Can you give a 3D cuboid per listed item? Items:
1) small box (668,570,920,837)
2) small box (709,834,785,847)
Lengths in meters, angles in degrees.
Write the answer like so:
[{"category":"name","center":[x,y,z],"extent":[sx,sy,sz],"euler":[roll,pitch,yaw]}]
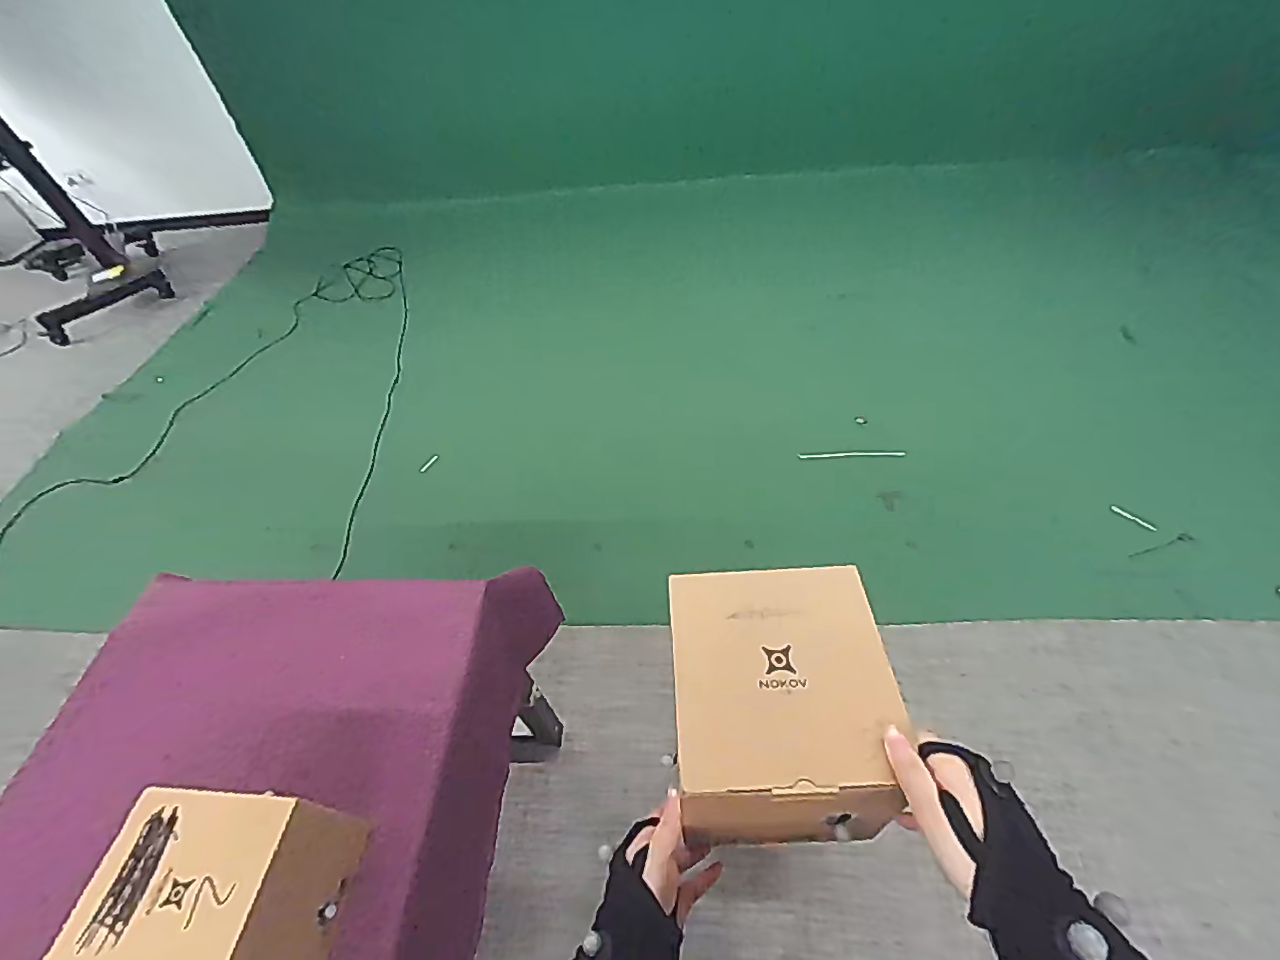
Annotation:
[{"category":"small box","center":[0.114,0.202,0.479],"extent":[0.168,0.176,0.179],"euler":[-3,46,2]},{"category":"small box","center":[0.233,0.711,1.221],"extent":[0.168,0.176,0.179],"euler":[1,49,7]}]
